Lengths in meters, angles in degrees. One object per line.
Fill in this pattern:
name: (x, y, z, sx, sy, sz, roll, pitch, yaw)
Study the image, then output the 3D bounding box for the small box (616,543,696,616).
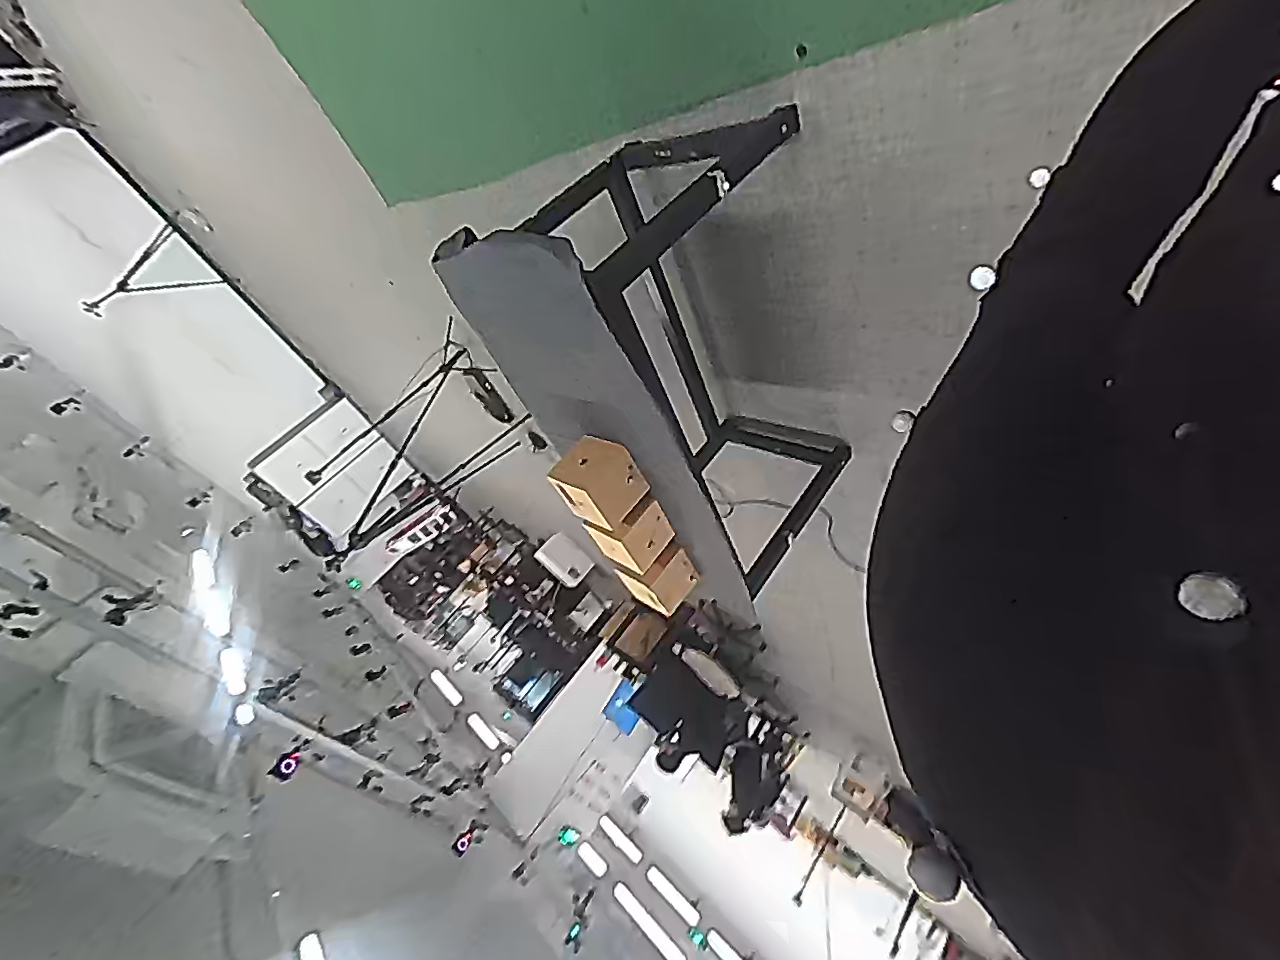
small box: (0.061, 0.301, 1.749, 0.179, 0.176, 0.168, 19, 149, 47)

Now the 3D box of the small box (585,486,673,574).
small box: (-0.024, 0.142, 1.597, 0.179, 0.176, 0.168, 21, 150, 44)
